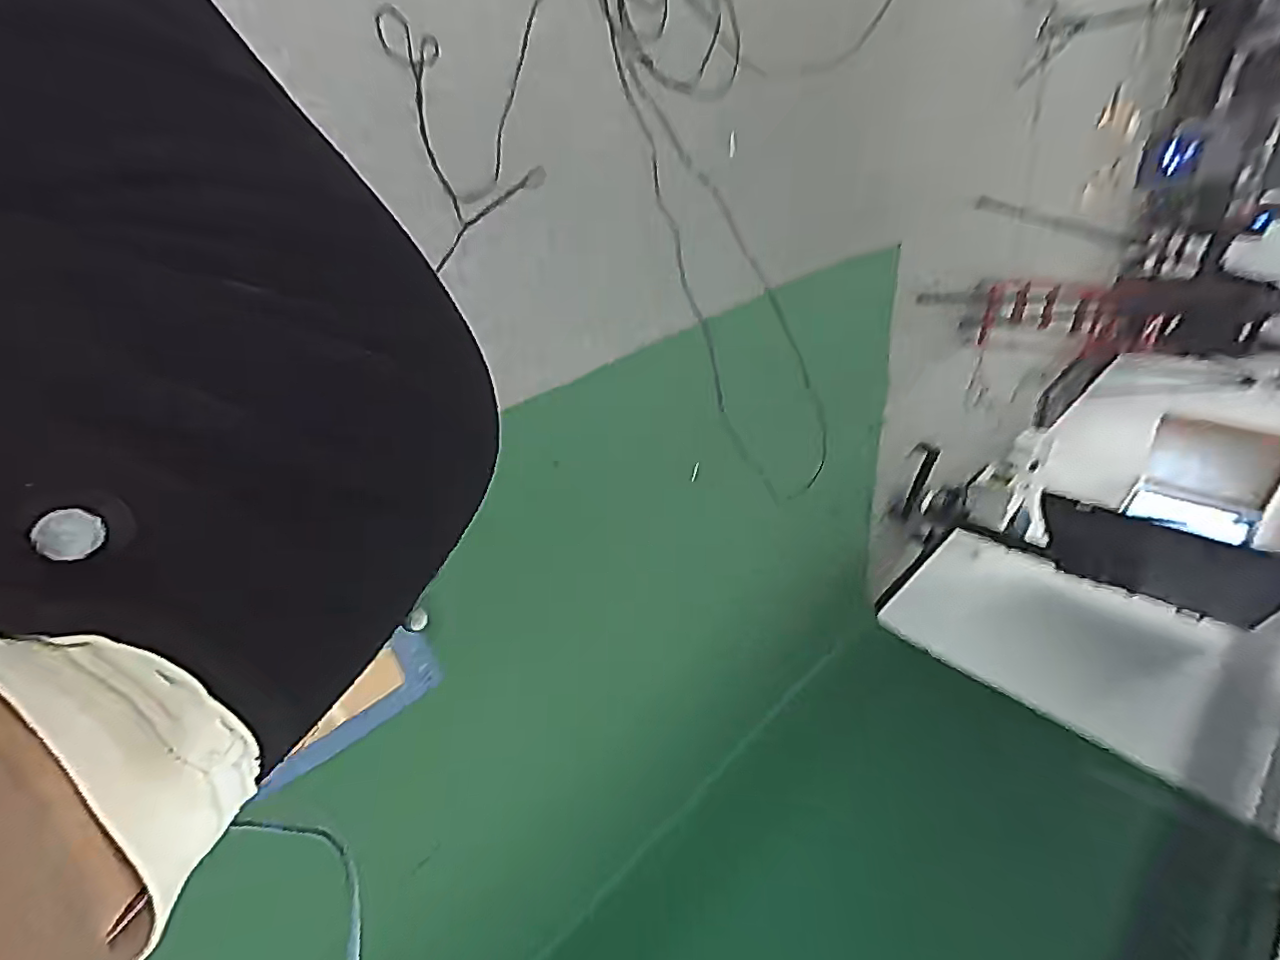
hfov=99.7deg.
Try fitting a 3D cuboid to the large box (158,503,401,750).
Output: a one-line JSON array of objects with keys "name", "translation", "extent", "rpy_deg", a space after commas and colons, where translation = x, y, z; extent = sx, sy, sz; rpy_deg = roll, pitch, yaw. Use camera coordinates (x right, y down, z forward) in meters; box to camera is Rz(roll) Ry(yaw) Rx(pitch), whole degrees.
[{"name": "large box", "translation": [-0.840, 0.331, 1.284], "extent": [0.320, 0.320, 0.408], "rpy_deg": [-29, 129, -30]}]
